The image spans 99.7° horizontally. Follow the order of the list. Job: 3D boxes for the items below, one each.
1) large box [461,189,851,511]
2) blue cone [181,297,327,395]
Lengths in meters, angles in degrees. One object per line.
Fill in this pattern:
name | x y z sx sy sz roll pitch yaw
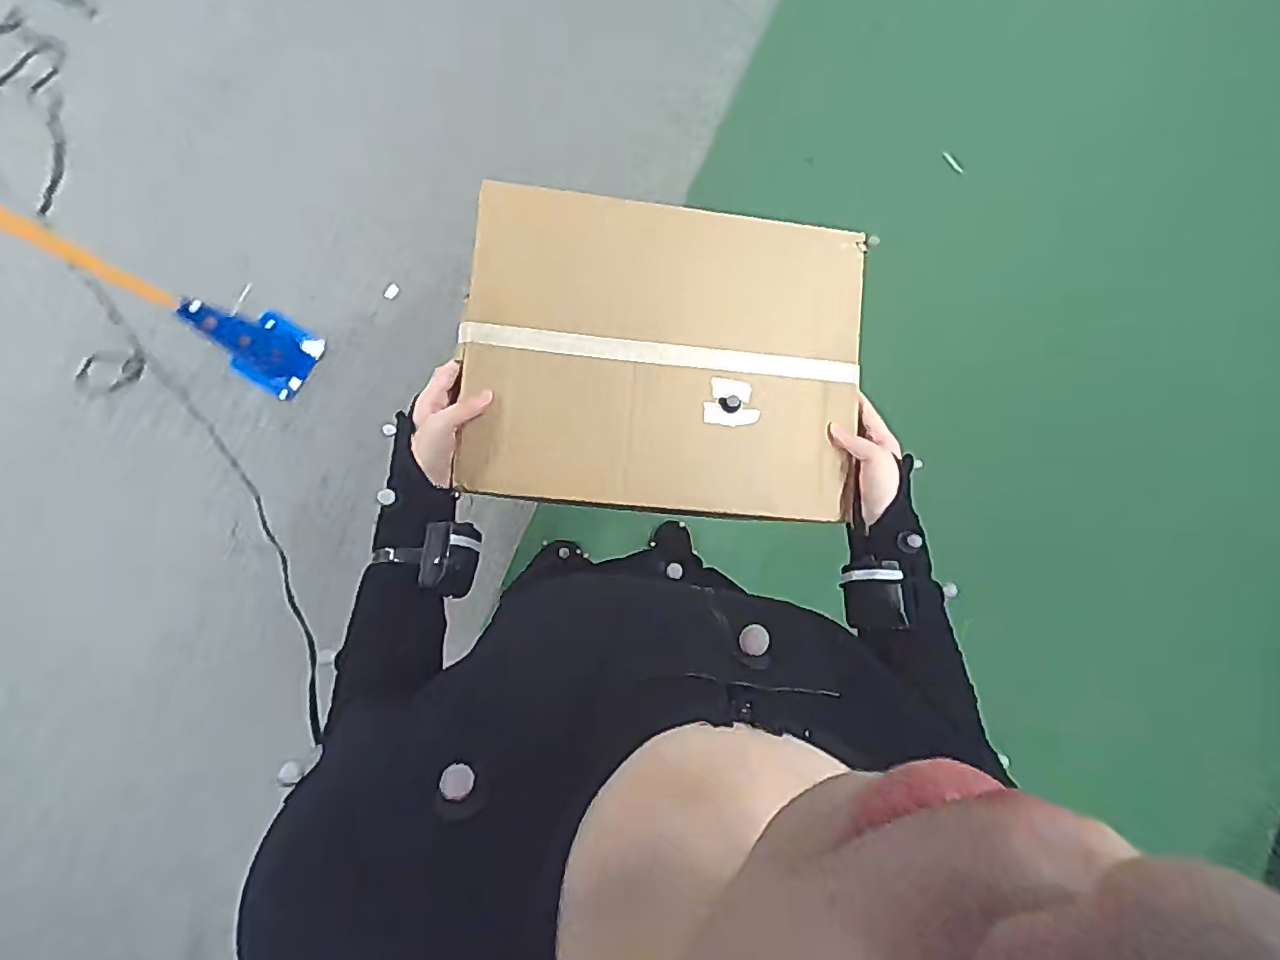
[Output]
large box | 0.007 -0.123 0.702 0.408 0.320 0.320 3 86 -7
blue cone | -0.982 -0.365 1.335 0.192 0.380 0.193 34 85 -1
